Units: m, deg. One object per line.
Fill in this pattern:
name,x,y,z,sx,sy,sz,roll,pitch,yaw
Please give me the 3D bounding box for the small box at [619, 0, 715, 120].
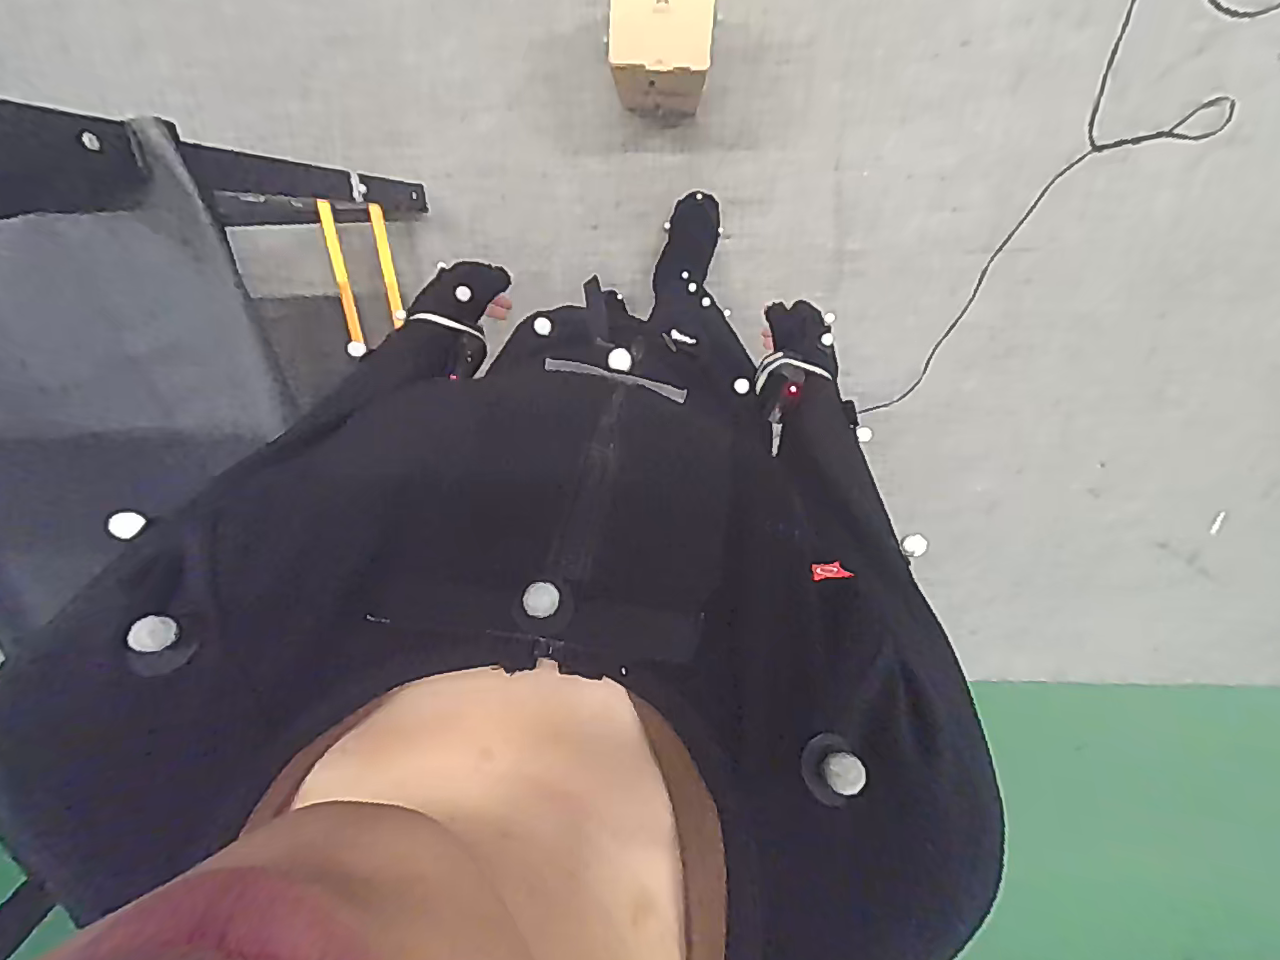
small box,0.051,-0.842,1.075,0.168,0.176,0.179,5,115,1
